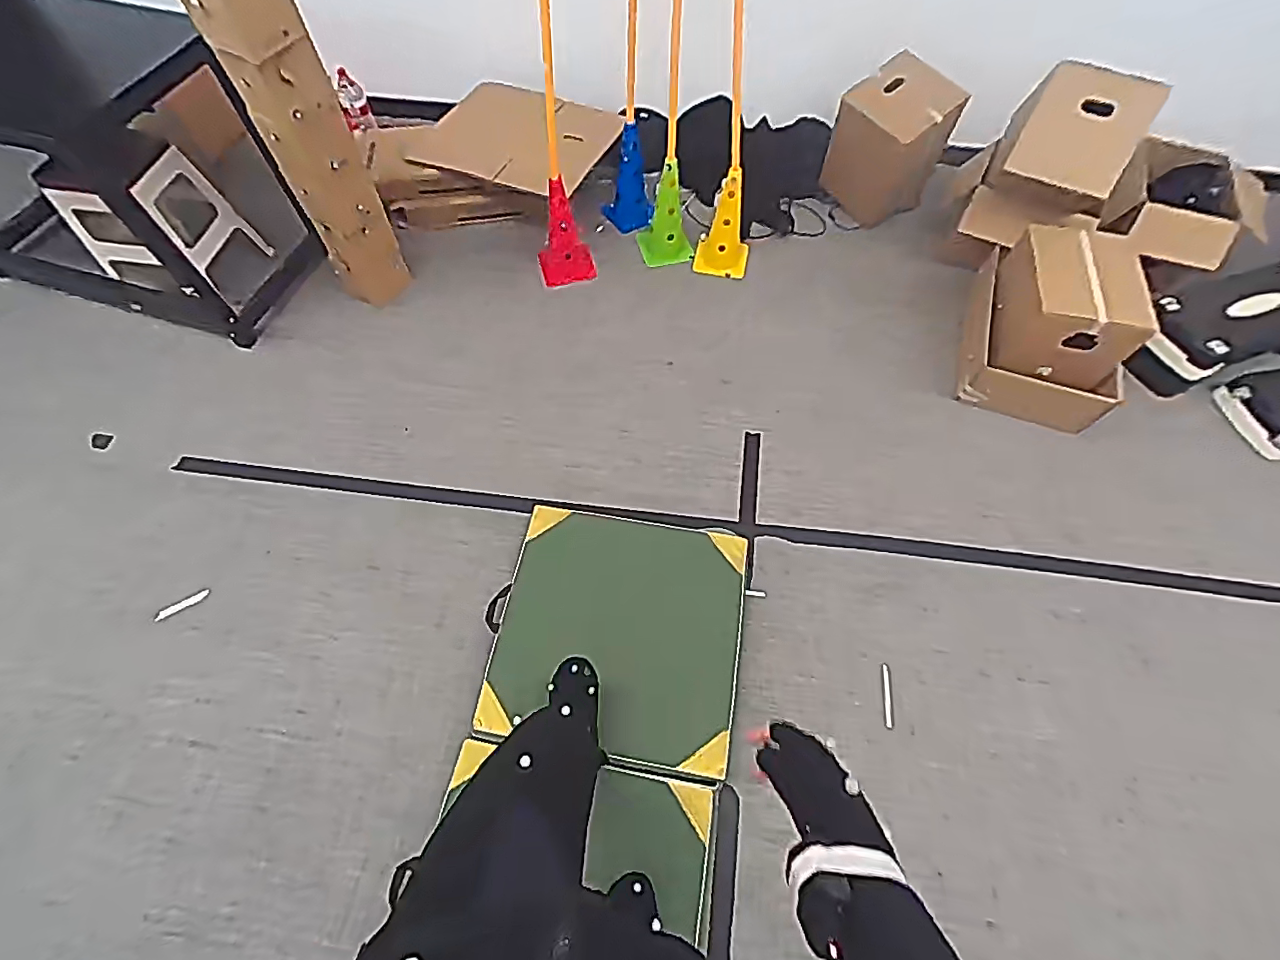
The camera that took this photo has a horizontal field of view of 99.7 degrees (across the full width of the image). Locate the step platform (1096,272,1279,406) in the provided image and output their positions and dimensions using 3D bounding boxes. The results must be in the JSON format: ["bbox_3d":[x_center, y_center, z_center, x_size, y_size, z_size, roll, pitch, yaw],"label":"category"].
[{"bbox_3d":[1.998,-0.497,1.880,0.684,0.204,0.286,-18,63,-10],"label":"step platform"}]
